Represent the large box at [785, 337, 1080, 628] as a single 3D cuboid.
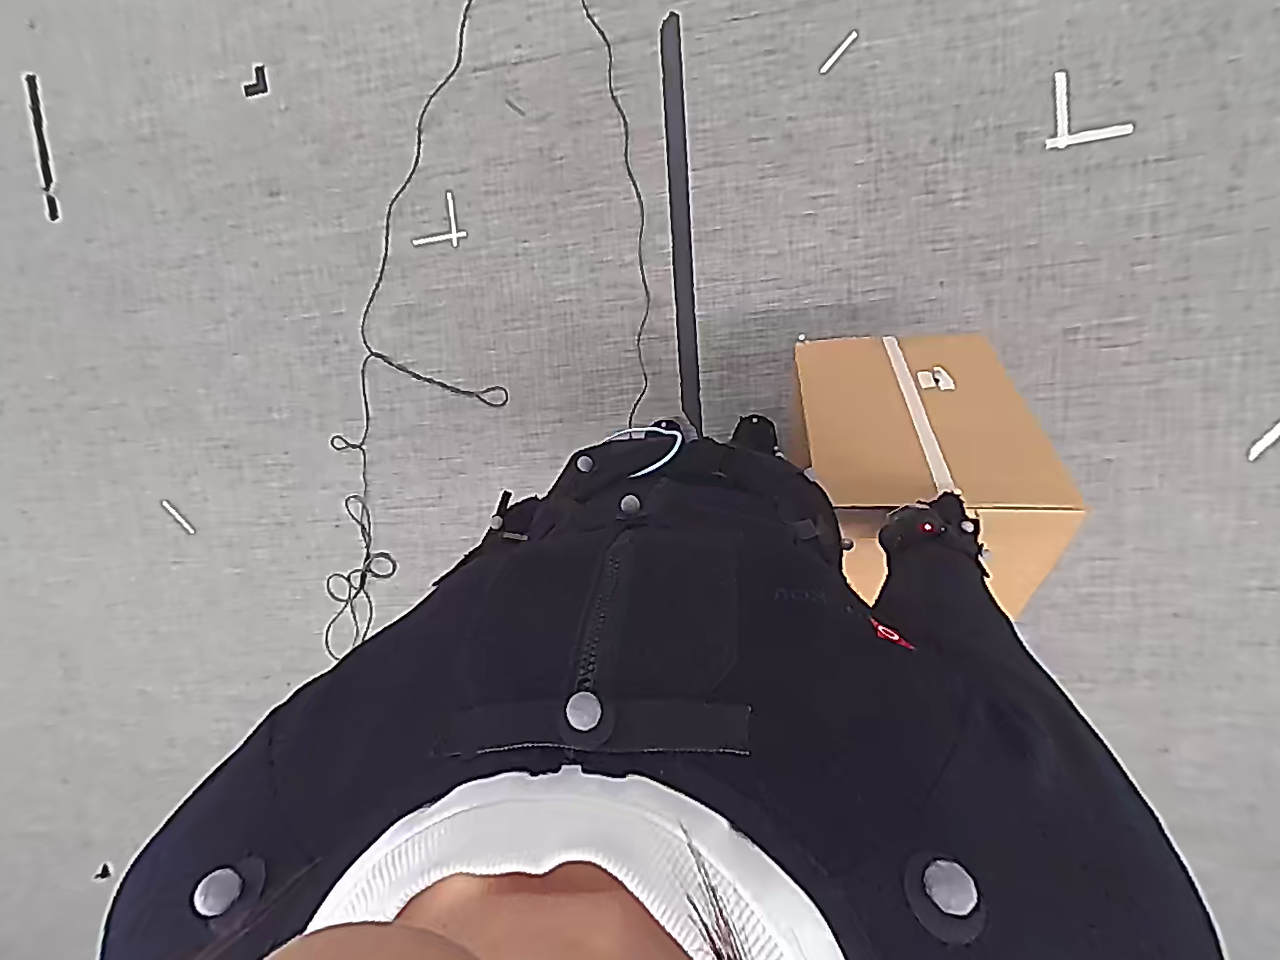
[{"bbox_3d":[0.430,0.001,0.926,0.320,0.408,0.320,0,134,9],"label":"large box"}]
